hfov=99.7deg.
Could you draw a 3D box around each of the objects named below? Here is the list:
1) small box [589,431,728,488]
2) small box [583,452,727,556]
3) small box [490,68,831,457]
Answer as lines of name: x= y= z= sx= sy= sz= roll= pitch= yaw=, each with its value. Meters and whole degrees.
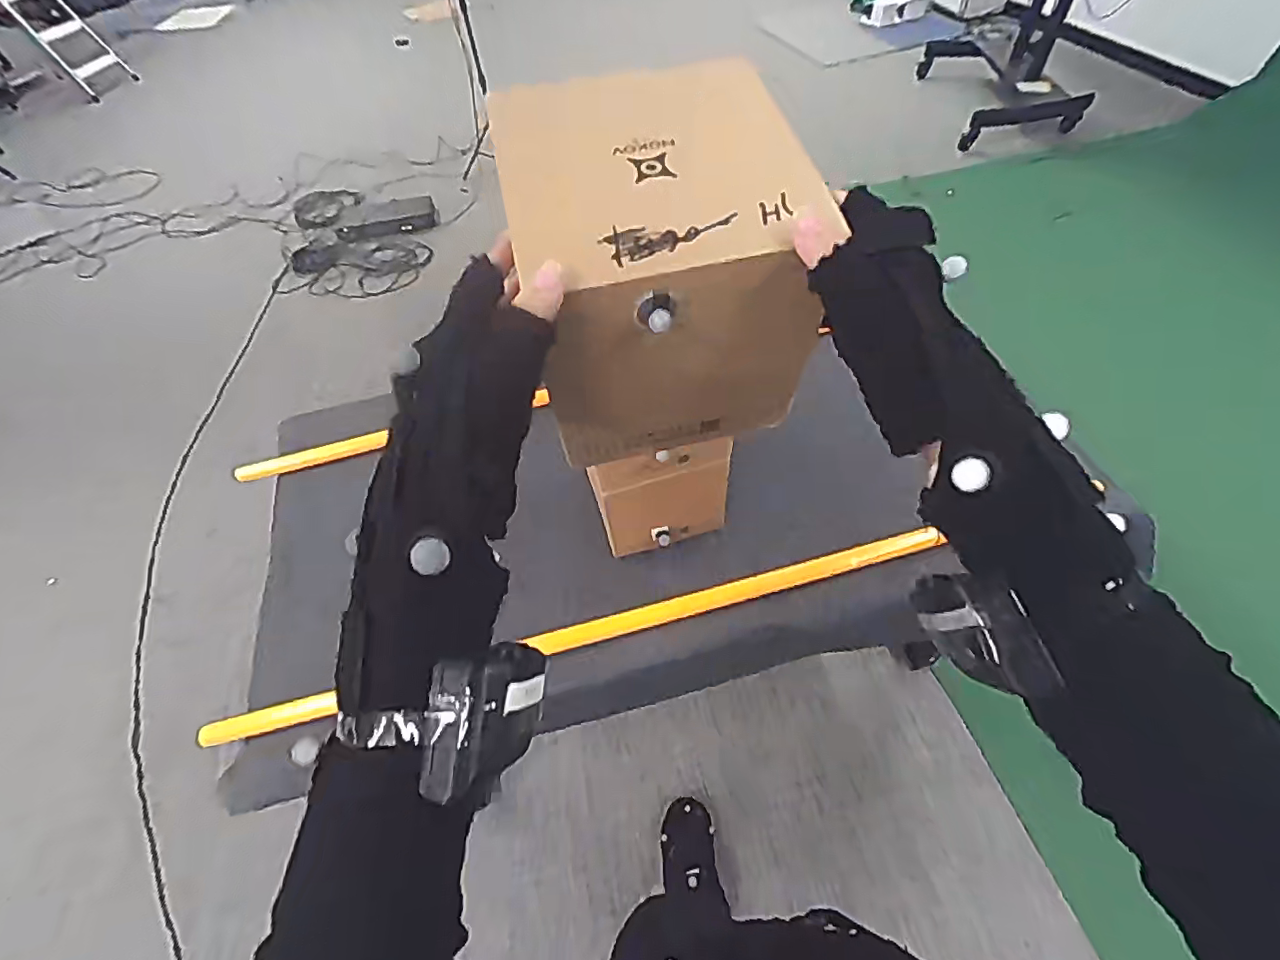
small box: x=0.000 y=-0.119 z=0.635 sx=0.168 sy=0.176 sz=0.179 roll=-16 pitch=55 yaw=-5
small box: x=0.012 y=-0.021 z=0.767 sx=0.168 sy=0.176 sz=0.179 roll=-17 pitch=56 yaw=-6
small box: x=0.003 y=-0.142 z=0.379 sx=0.168 sy=0.176 sz=0.179 roll=-13 pitch=62 yaw=-4
